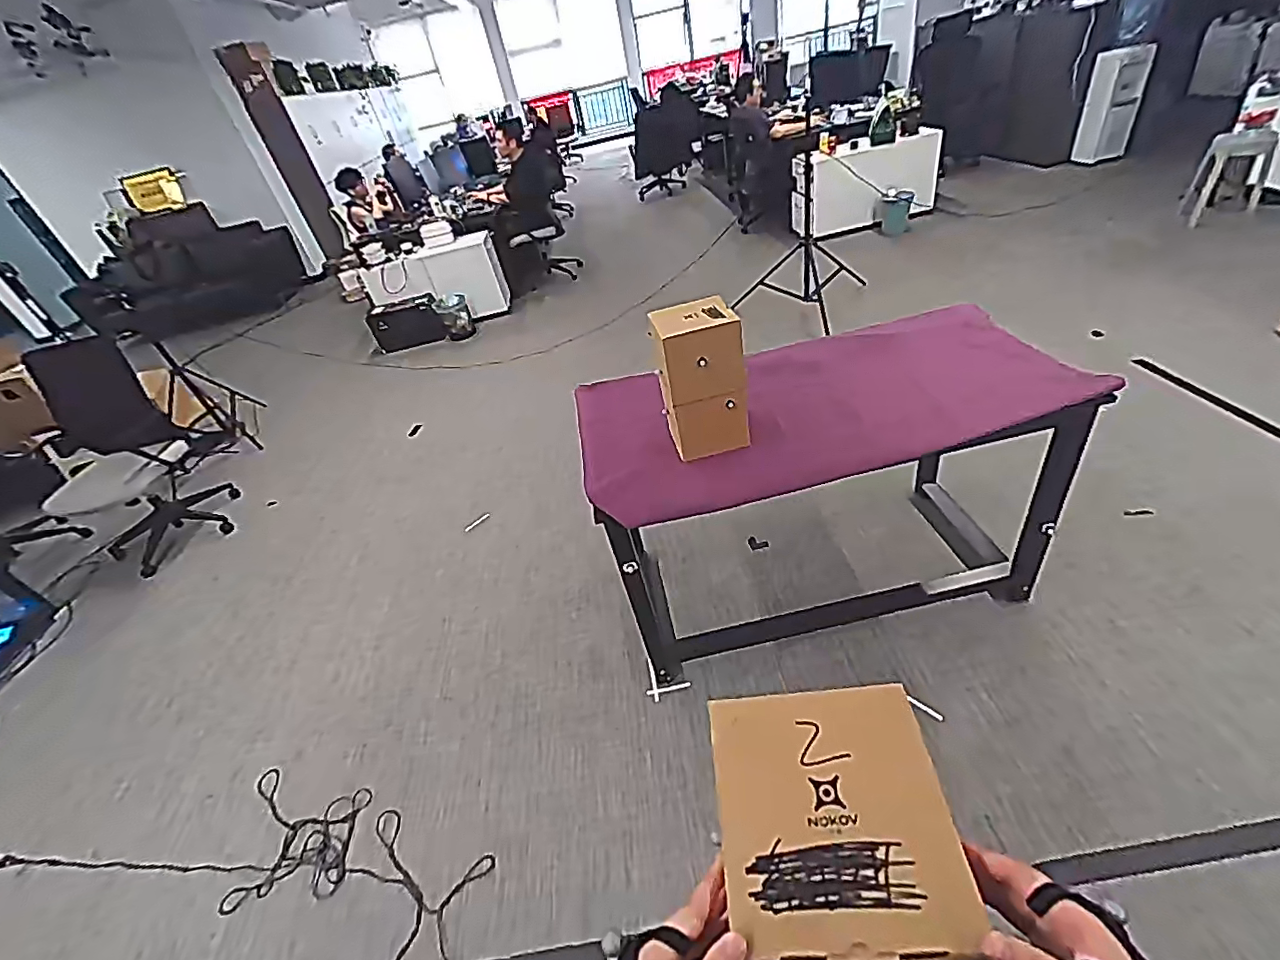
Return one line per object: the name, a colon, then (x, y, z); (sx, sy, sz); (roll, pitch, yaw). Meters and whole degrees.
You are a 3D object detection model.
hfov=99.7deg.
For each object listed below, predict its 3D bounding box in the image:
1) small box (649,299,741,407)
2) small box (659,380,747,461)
small box: (0.130, -0.293, 1.250); (0.179, 0.176, 0.168); (-15, 37, -1)
small box: (0.158, -0.169, 1.354); (0.179, 0.176, 0.168); (-14, 38, -2)
